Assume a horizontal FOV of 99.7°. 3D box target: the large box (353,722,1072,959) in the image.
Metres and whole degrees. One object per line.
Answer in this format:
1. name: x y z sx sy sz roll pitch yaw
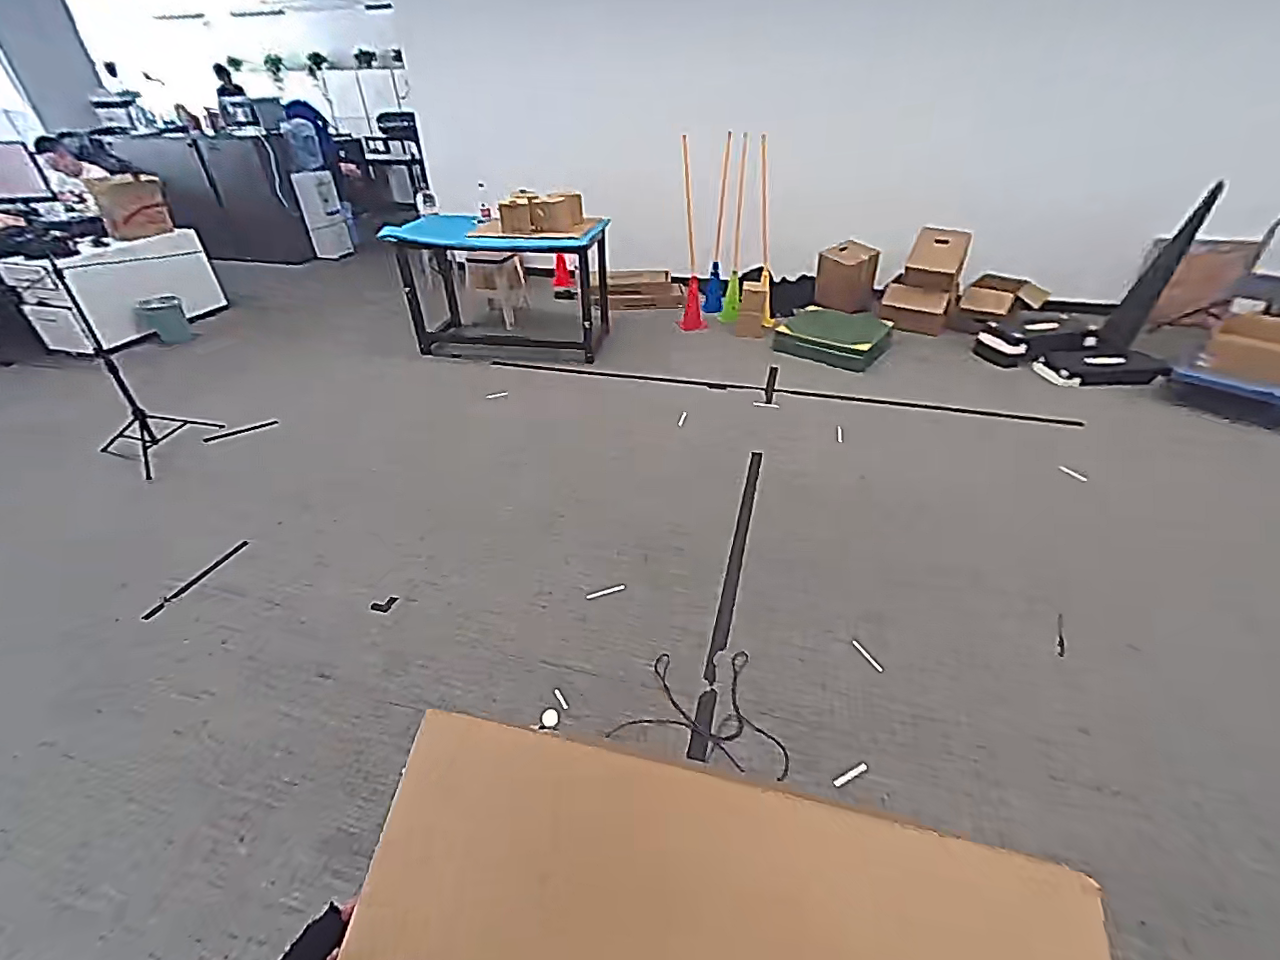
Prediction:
1. large box: 0.034 0.395 0.410 0.408 0.320 0.320 7 66 14
